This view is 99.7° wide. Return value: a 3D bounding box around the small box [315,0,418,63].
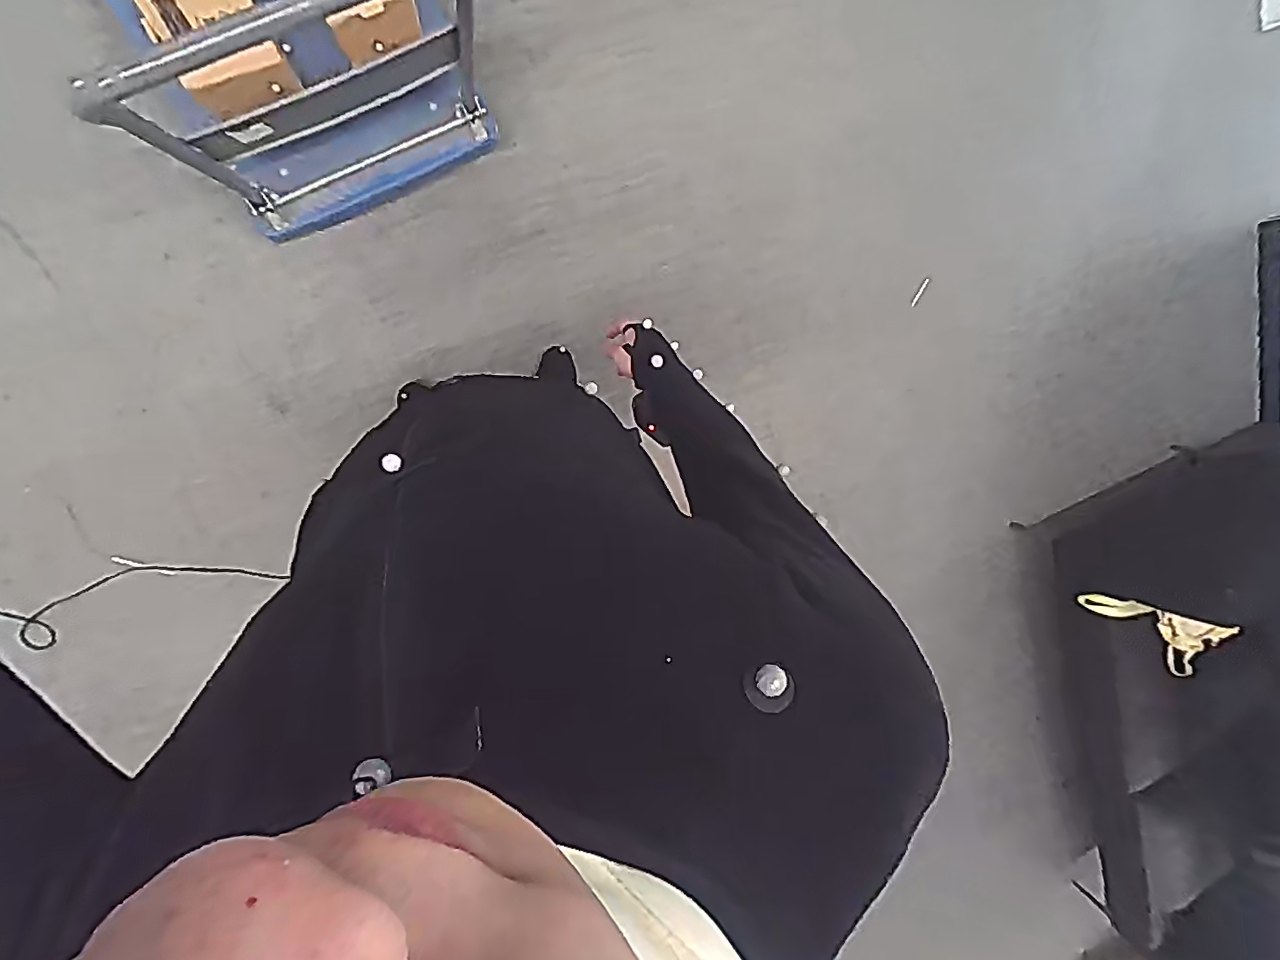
[{"bbox_3d":[-0.553,-0.962,1.042,0.168,0.176,0.179,-28,110,-7],"label":"small box"}]
